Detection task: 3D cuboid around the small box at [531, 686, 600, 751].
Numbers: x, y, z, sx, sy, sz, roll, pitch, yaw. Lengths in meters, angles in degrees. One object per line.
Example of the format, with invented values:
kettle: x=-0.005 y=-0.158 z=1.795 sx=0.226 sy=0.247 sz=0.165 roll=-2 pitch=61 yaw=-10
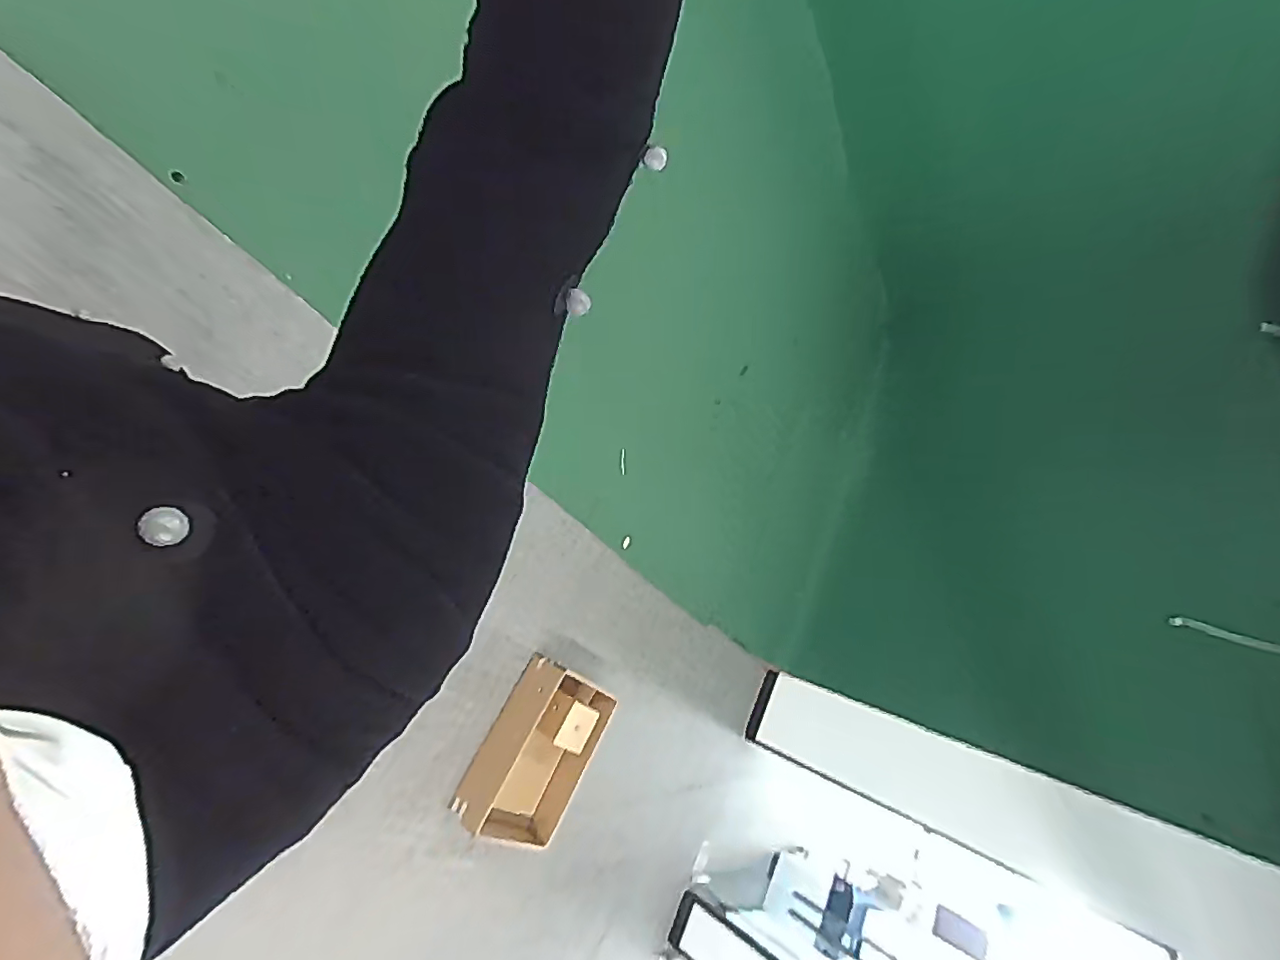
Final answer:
small box: x=-0.298 y=0.939 z=2.138 sx=0.179 sy=0.176 sz=0.168 roll=48 pitch=63 yaw=-42
